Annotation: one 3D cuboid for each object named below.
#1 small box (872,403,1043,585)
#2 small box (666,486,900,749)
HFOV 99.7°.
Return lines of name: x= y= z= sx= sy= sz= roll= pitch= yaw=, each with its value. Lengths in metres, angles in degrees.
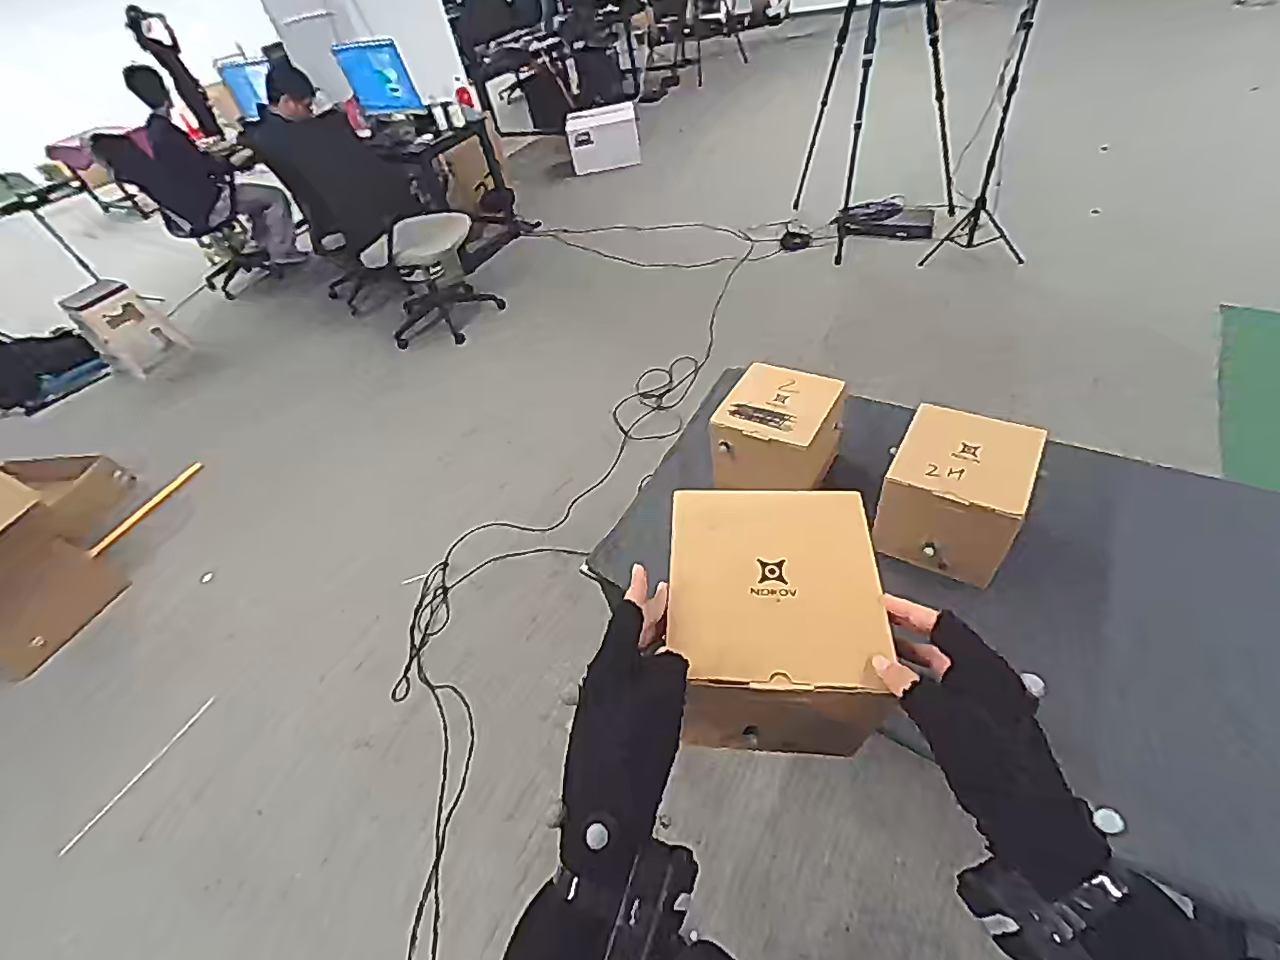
small box: x=0.459 y=0.020 z=0.801 sx=0.168 sy=0.176 sz=0.179 roll=21 pitch=56 yaw=29
small box: x=0.113 y=0.125 z=0.494 sx=0.168 sy=0.176 sz=0.179 roll=1 pitch=51 yaw=7
